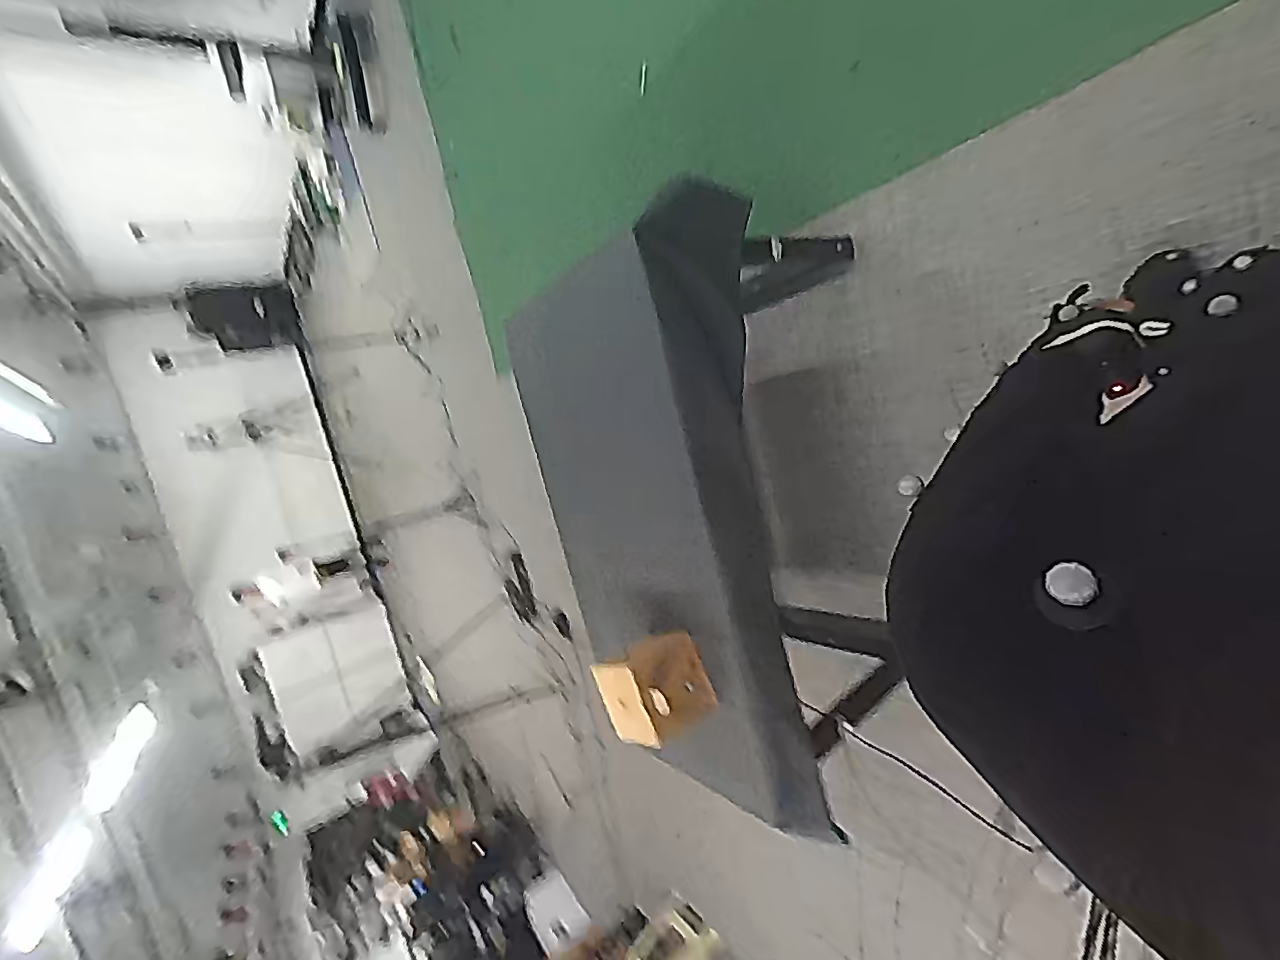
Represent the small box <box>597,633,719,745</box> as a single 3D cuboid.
[{"bbox_3d":[0.038,0.446,1.175,0.179,0.176,0.168,-32,79,54],"label":"small box"}]
